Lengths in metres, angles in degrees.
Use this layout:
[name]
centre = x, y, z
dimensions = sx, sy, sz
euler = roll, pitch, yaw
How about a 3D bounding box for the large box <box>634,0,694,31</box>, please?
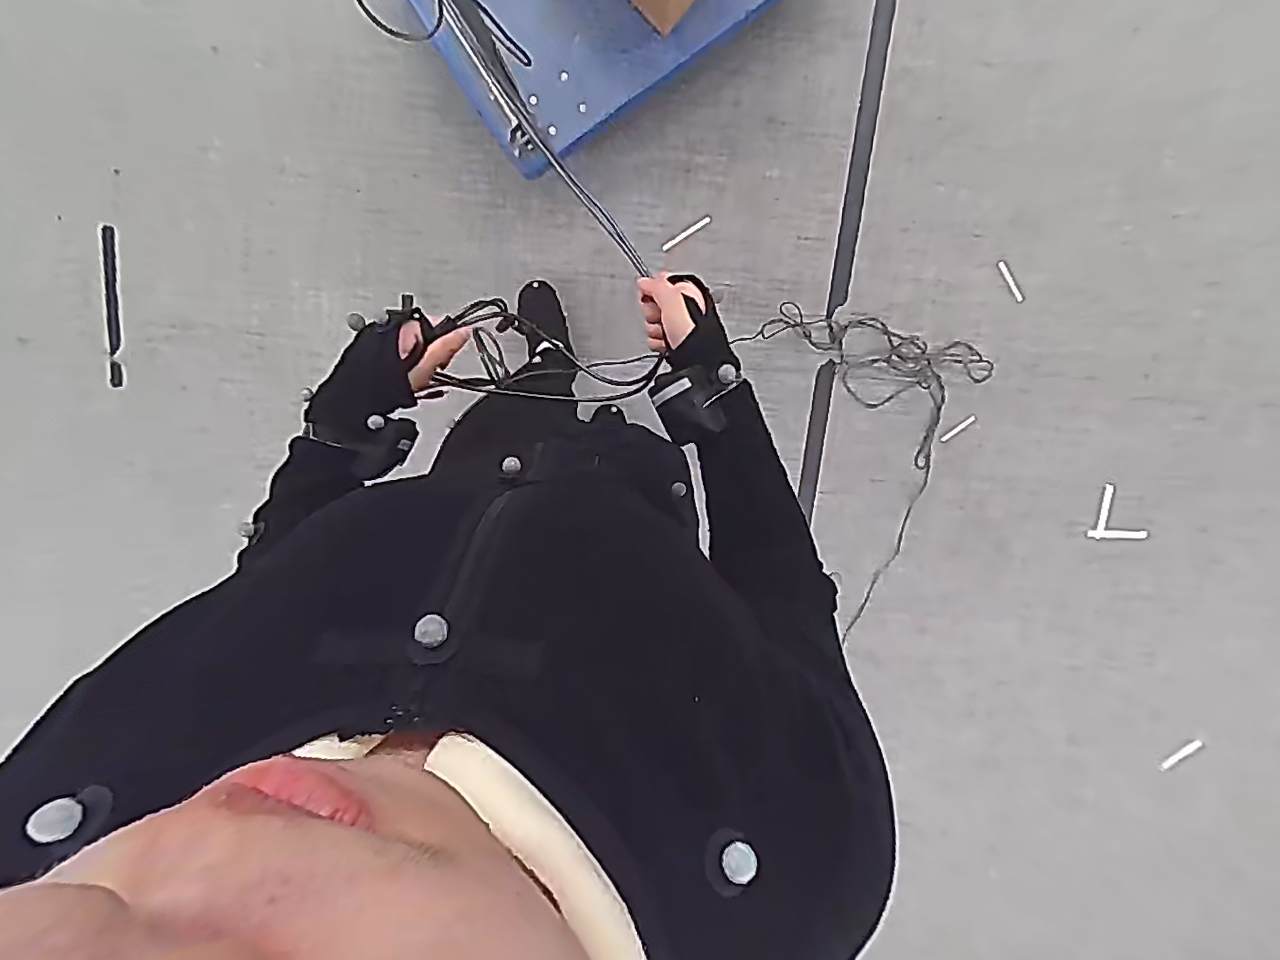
[large box]
centre = 0.010, -1.129, 0.925
dimensions = 0.408, 0.320, 0.320
euler = 41, 99, -9
